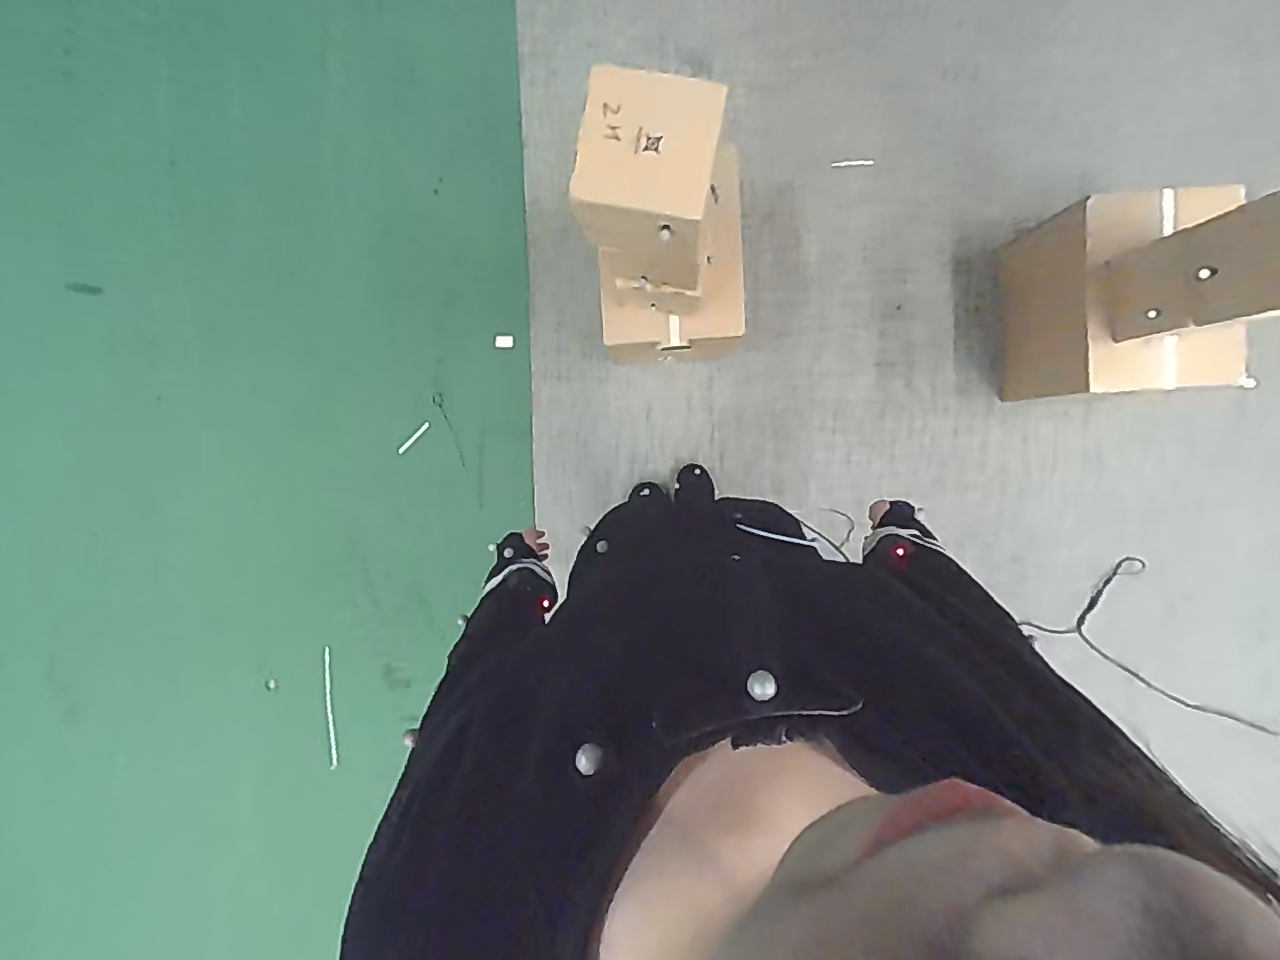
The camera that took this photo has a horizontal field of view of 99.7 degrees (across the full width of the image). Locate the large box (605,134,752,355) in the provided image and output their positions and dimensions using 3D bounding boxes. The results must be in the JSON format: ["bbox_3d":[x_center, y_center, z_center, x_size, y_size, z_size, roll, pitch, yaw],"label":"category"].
[{"bbox_3d":[0.090,-0.535,1.309,0.320,0.320,0.408,-1,94,3],"label":"large box"}]

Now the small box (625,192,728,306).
[{"bbox_3d":[0.070,-0.463,1.072,0.168,0.176,0.179,10,96,3],"label":"small box"}]

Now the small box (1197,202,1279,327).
[{"bbox_3d":[1.053,-0.350,0.861,0.168,0.176,0.179,-9,95,5],"label":"small box"}]

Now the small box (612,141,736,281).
[{"bbox_3d":[0.054,-0.459,0.909,0.168,0.176,0.179,13,97,4],"label":"small box"}]
